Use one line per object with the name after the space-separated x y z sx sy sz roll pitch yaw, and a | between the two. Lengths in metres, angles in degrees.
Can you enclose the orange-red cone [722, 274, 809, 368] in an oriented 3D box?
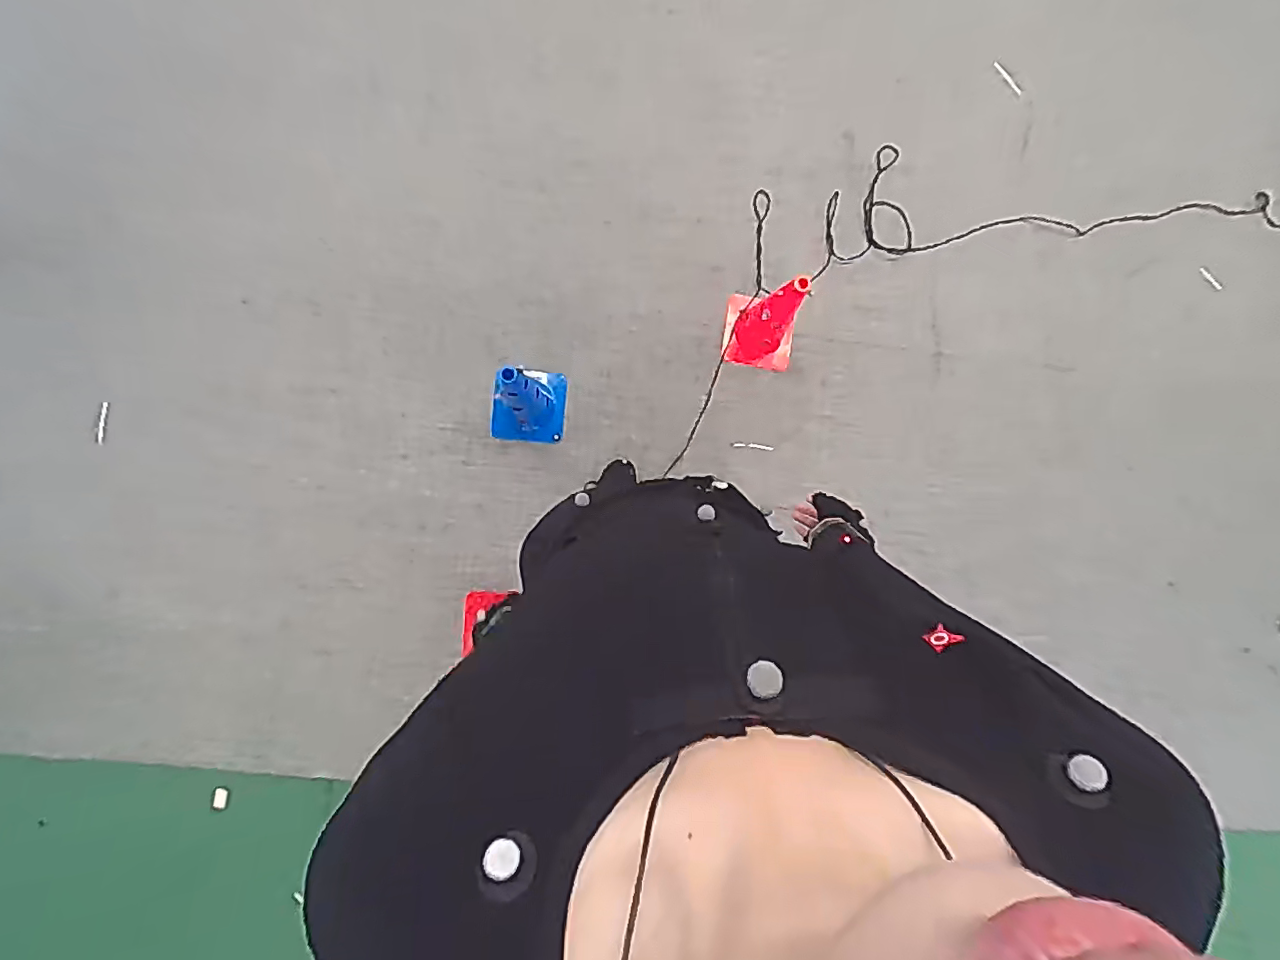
0.353 -0.435 1.383 0.198 0.360 0.199 10 88 -2 | orange-red cone
